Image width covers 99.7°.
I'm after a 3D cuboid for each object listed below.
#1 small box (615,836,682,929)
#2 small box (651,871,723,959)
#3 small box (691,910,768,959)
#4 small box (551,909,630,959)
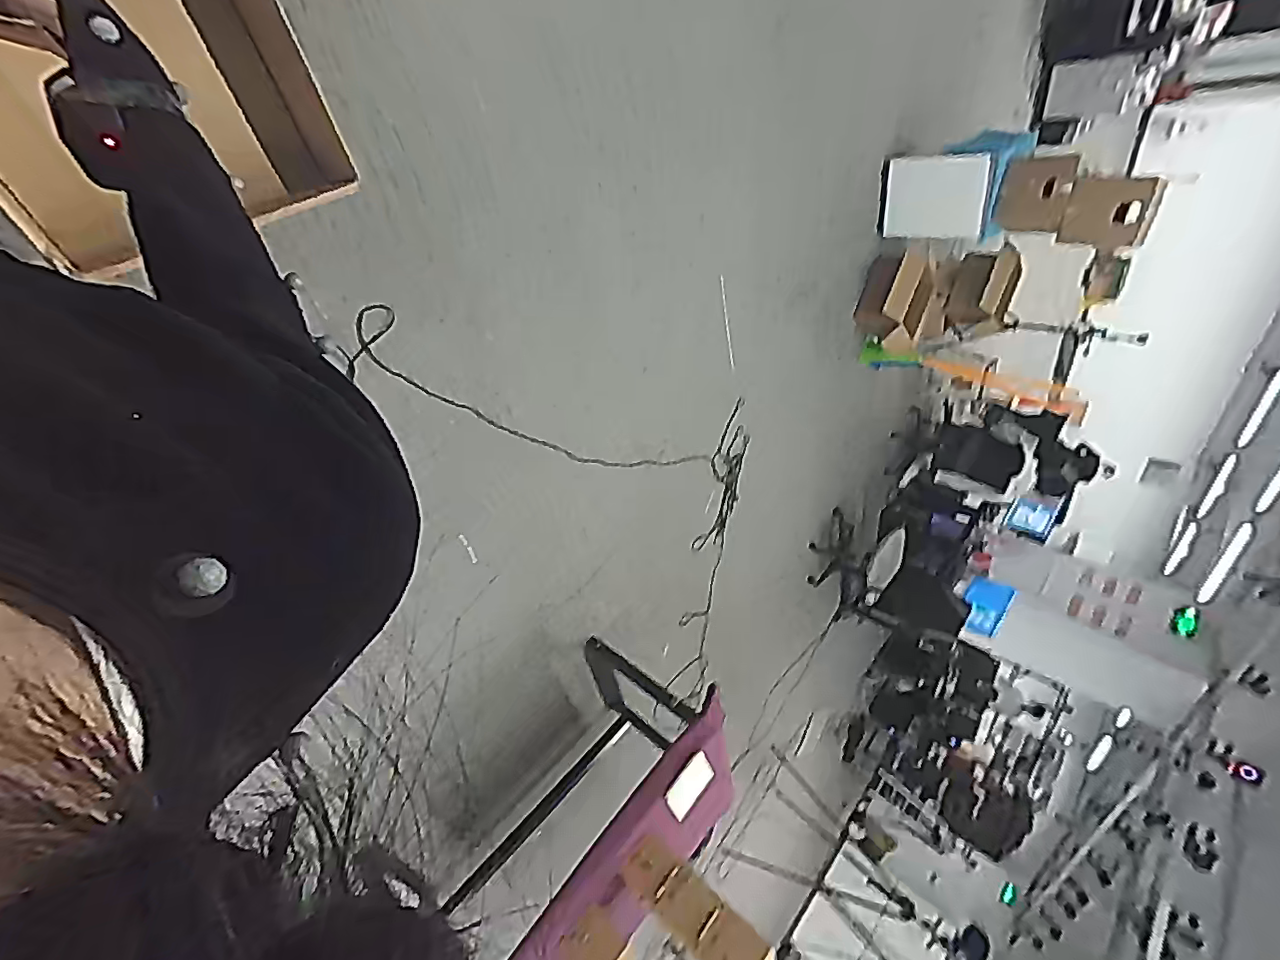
[{"bbox_3d":[0.036,1.354,1.831,0.168,0.176,0.179,-37,132,-31],"label":"small box"},{"bbox_3d":[0.152,1.399,1.723,0.168,0.176,0.179,-37,133,-31],"label":"small box"},{"bbox_3d":[0.267,1.446,1.618,0.168,0.176,0.179,-36,132,-31],"label":"small box"},{"bbox_3d":[-0.150,1.494,1.685,0.168,0.176,0.179,-38,134,-32],"label":"small box"}]
